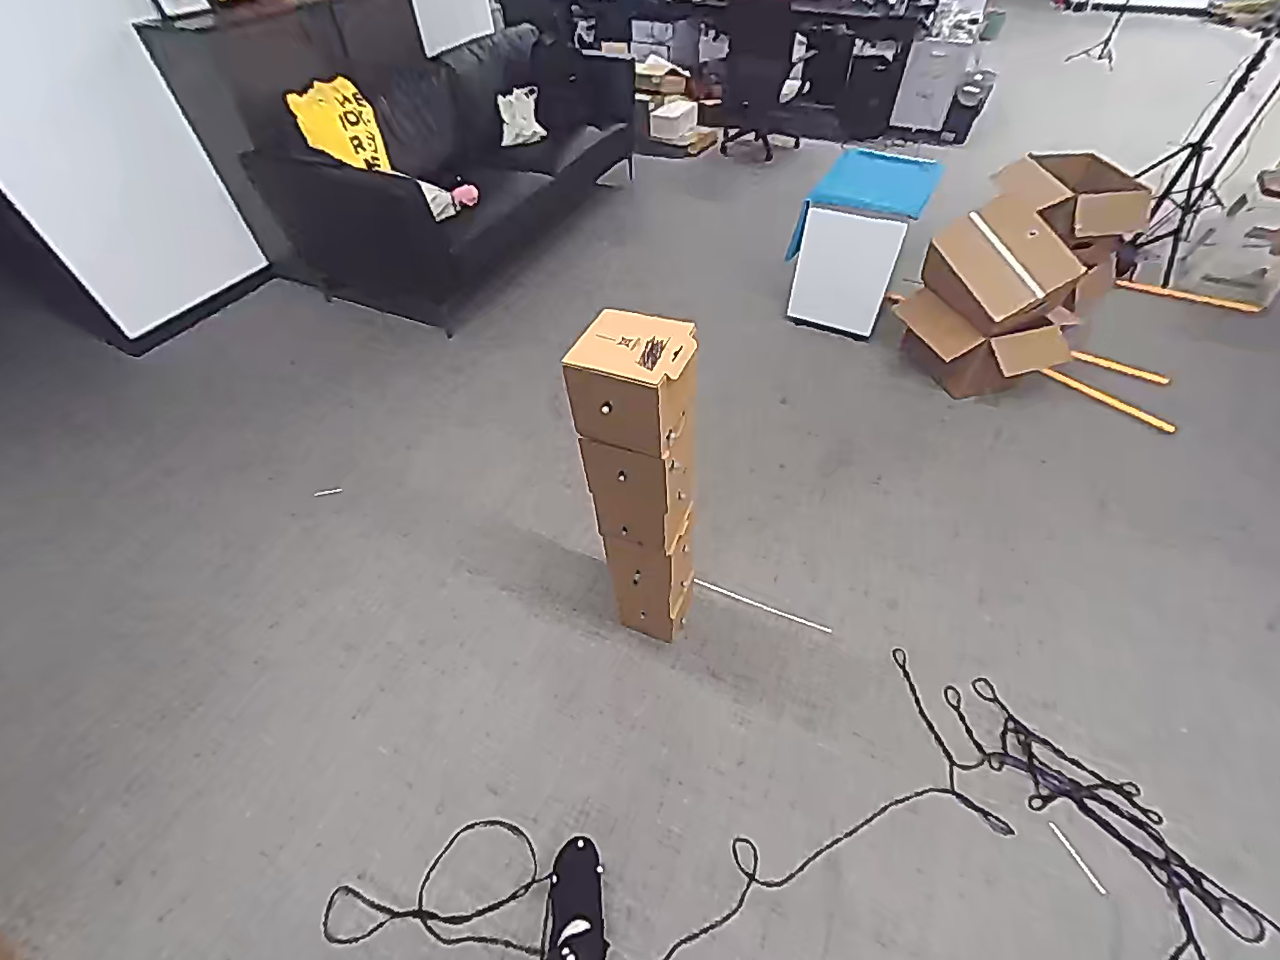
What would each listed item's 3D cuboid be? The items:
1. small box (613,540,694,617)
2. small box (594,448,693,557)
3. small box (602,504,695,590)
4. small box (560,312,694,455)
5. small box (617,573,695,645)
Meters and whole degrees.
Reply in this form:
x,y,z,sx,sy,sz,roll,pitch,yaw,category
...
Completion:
x,y,z,sx,sy,sz,roll,pitch,yaw,category
0.034,0.244,1.462,0.179,0.176,0.168,18,53,18,small box
0.012,0.040,1.208,0.168,0.176,0.179,15,53,17,small box
0.026,0.148,1.330,0.179,0.176,0.168,16,51,16,small box
-0.014,-0.167,0.956,0.179,0.176,0.168,16,53,19,small box
0.050,0.357,1.581,0.179,0.176,0.168,18,51,17,small box
